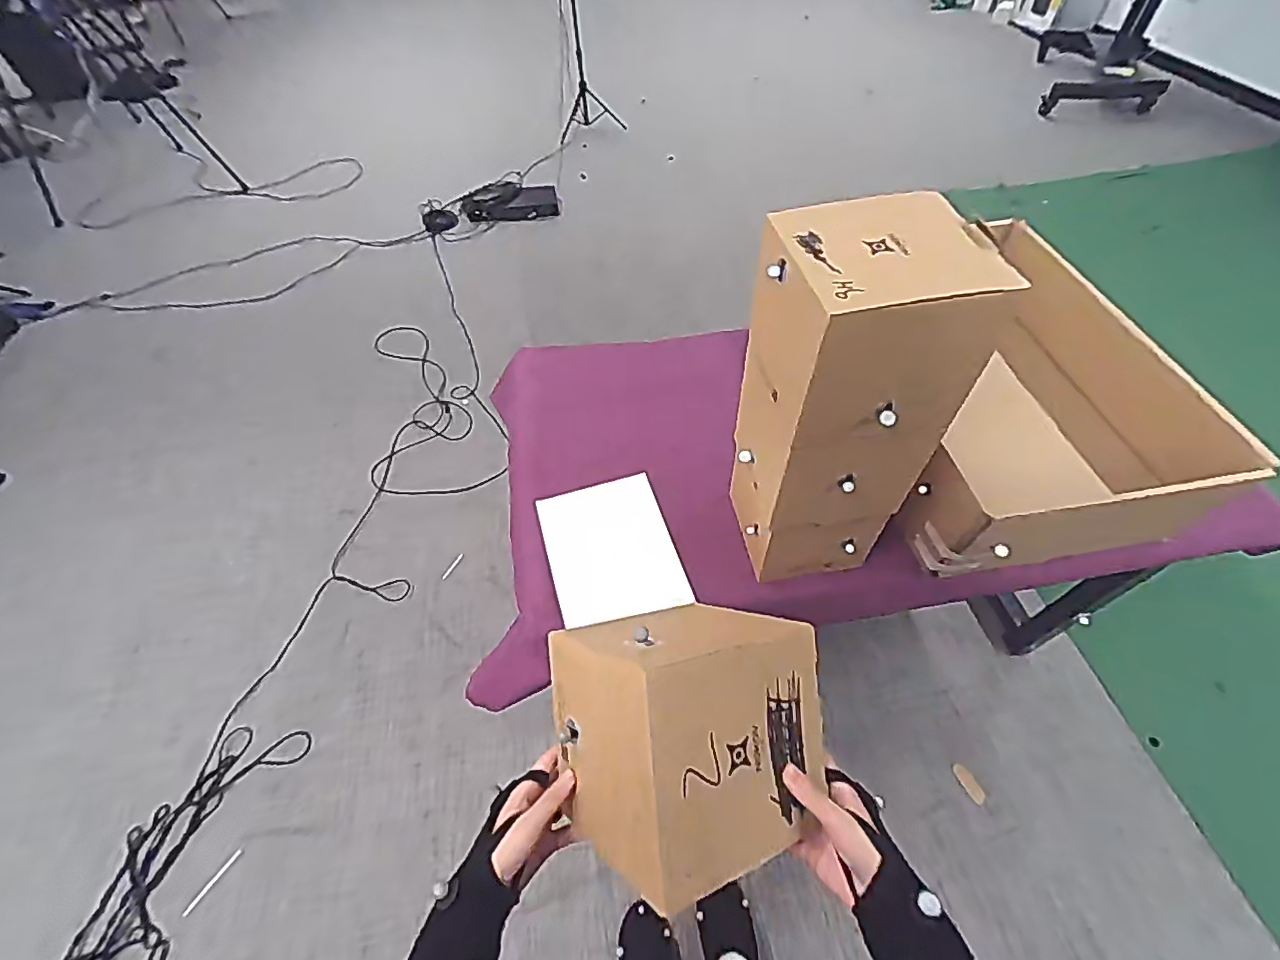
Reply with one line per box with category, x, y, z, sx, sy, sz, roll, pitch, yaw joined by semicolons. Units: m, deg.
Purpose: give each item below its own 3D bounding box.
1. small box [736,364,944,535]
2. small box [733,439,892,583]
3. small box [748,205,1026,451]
small box;0.230;-0.050;0.677;0.179;0.176;0.168;-8;52;-3
small box;0.243;0.040;0.813;0.168;0.176;0.179;-8;52;-3
small box;0.222;-0.149;0.546;0.179;0.176;0.168;-8;52;-4
